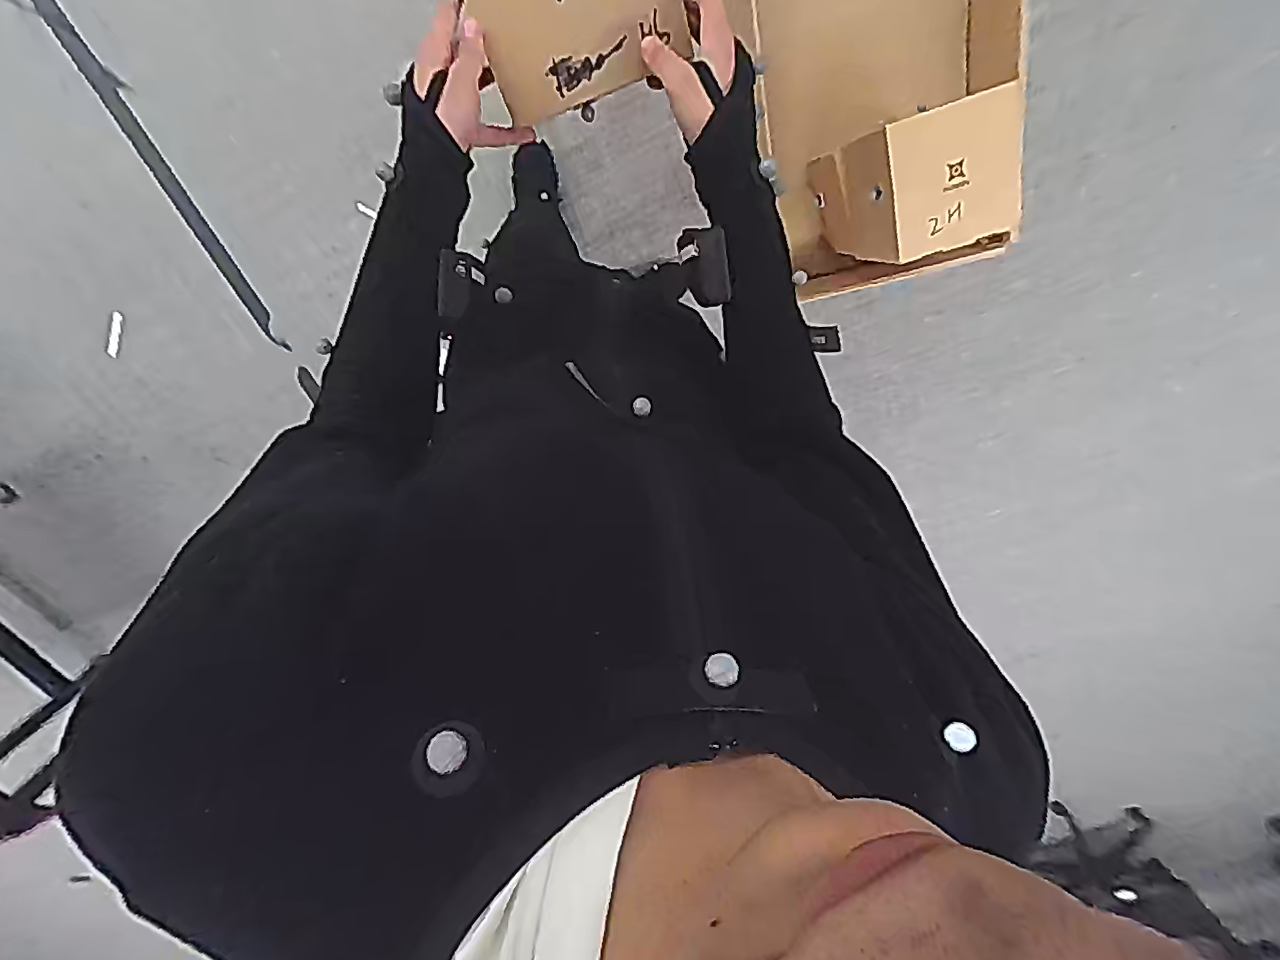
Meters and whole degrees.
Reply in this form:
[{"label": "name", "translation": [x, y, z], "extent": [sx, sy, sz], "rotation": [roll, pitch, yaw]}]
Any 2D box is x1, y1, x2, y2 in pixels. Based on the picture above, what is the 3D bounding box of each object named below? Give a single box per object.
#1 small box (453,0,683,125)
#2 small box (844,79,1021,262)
[{"label": "small box", "translation": [-0.069, -0.435, 0.469], "extent": [0.168, 0.176, 0.179], "rotation": [-16, 125, 9]}, {"label": "small box", "translation": [0.407, -0.427, 0.773], "extent": [0.168, 0.176, 0.179], "rotation": [-15, 114, 7]}]
